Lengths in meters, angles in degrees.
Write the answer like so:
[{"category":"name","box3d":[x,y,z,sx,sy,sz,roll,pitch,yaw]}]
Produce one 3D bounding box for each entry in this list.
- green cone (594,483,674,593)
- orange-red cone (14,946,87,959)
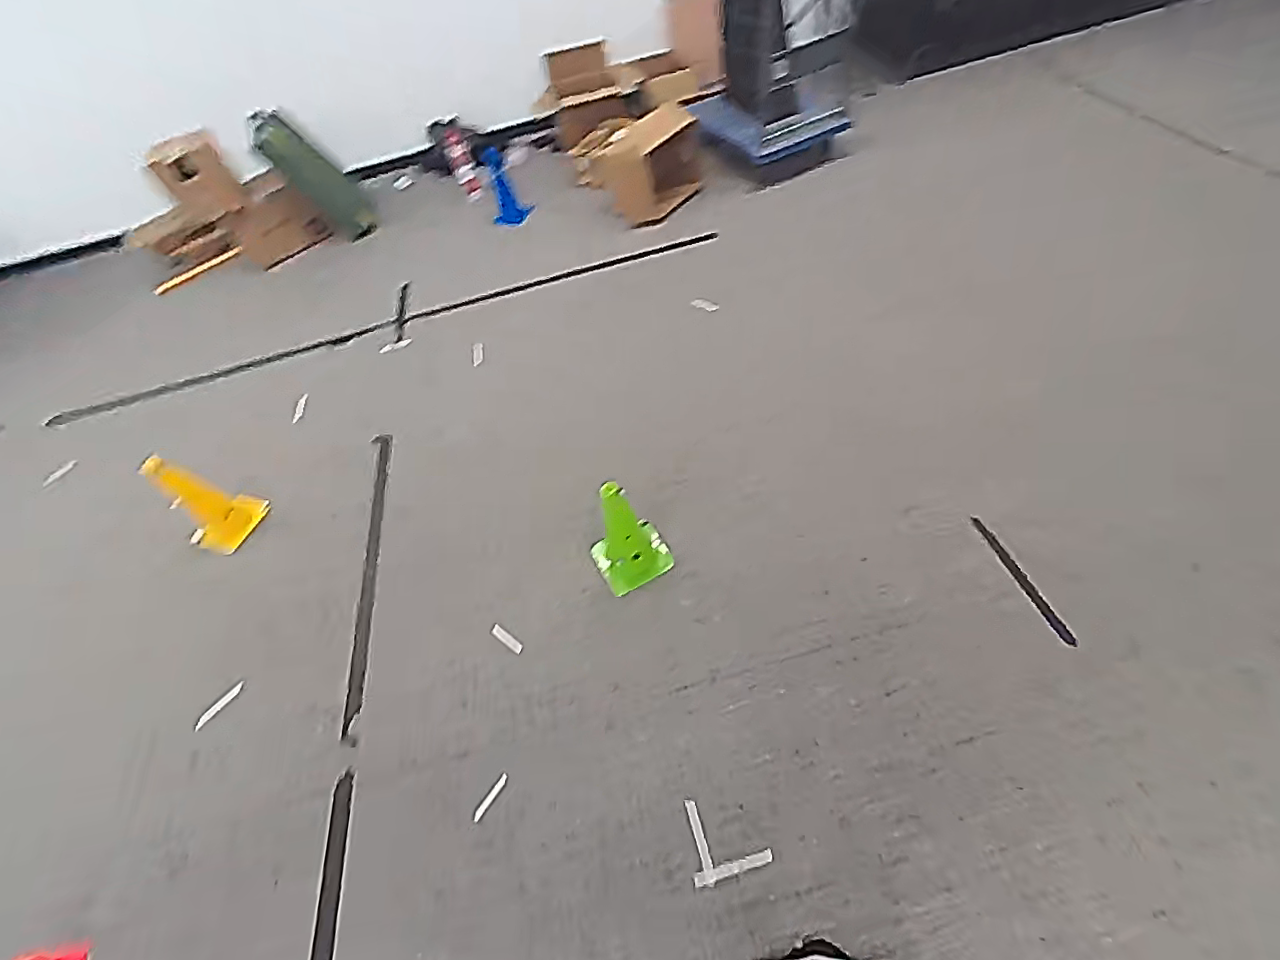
[{"category":"green cone","box3d":[-0.049,0.125,1.506,0.200,0.368,0.202,-28,54,-9]},{"category":"orange-red cone","box3d":[-1.384,1.061,1.065,0.198,0.360,0.199,-9,51,4]}]
